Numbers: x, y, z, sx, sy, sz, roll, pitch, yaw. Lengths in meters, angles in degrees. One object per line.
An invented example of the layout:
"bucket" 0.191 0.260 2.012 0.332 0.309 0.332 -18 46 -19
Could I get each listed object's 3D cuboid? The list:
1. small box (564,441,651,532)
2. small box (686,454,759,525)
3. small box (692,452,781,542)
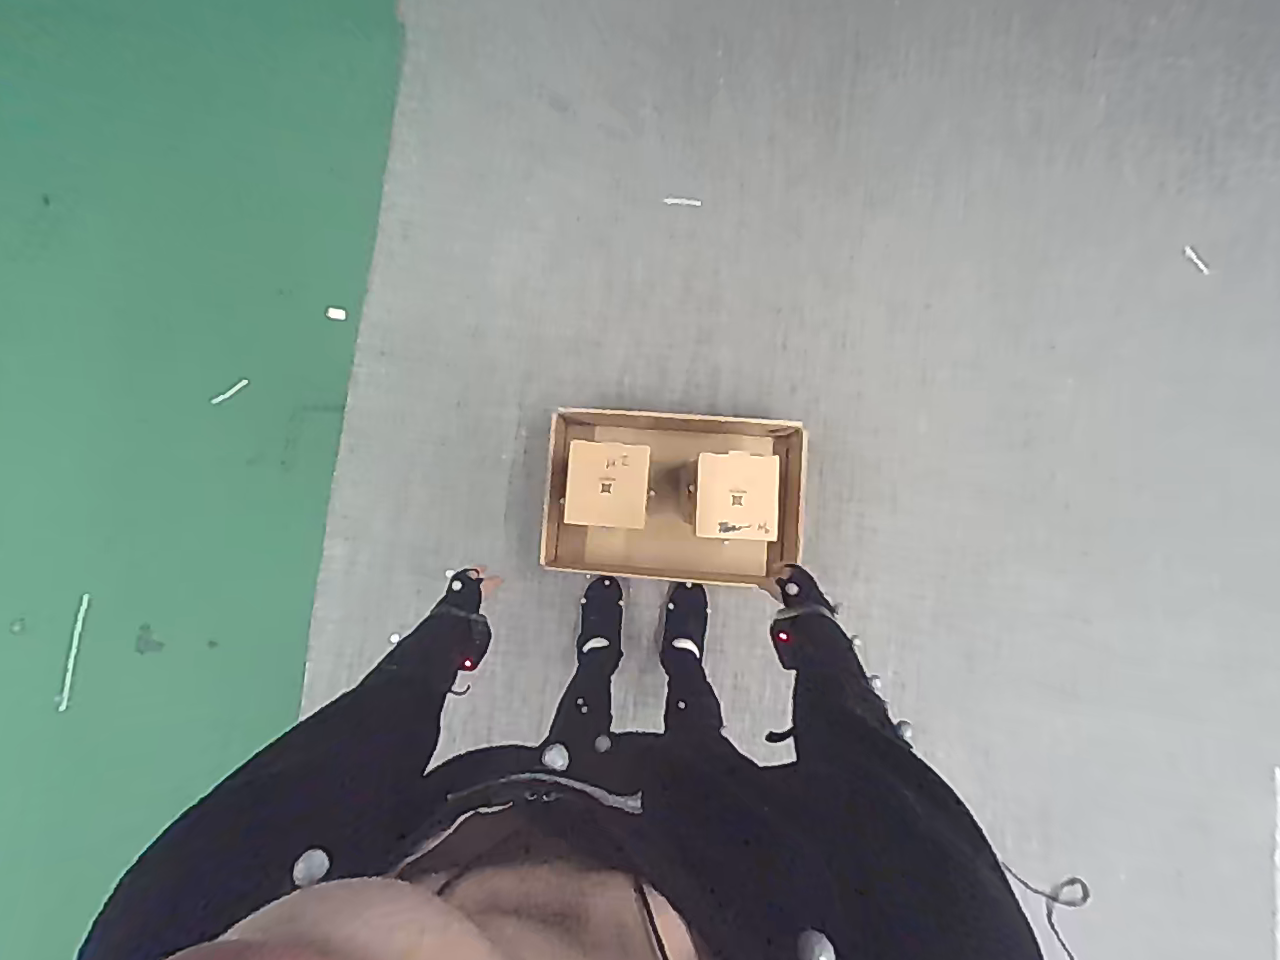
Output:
"small box" -0.064 0.016 1.179 0.168 0.176 0.179 5 87 1
"small box" 0.202 0.029 1.331 0.179 0.176 0.168 -1 86 1
"small box" 0.202 0.041 1.167 0.168 0.176 0.179 3 85 3
